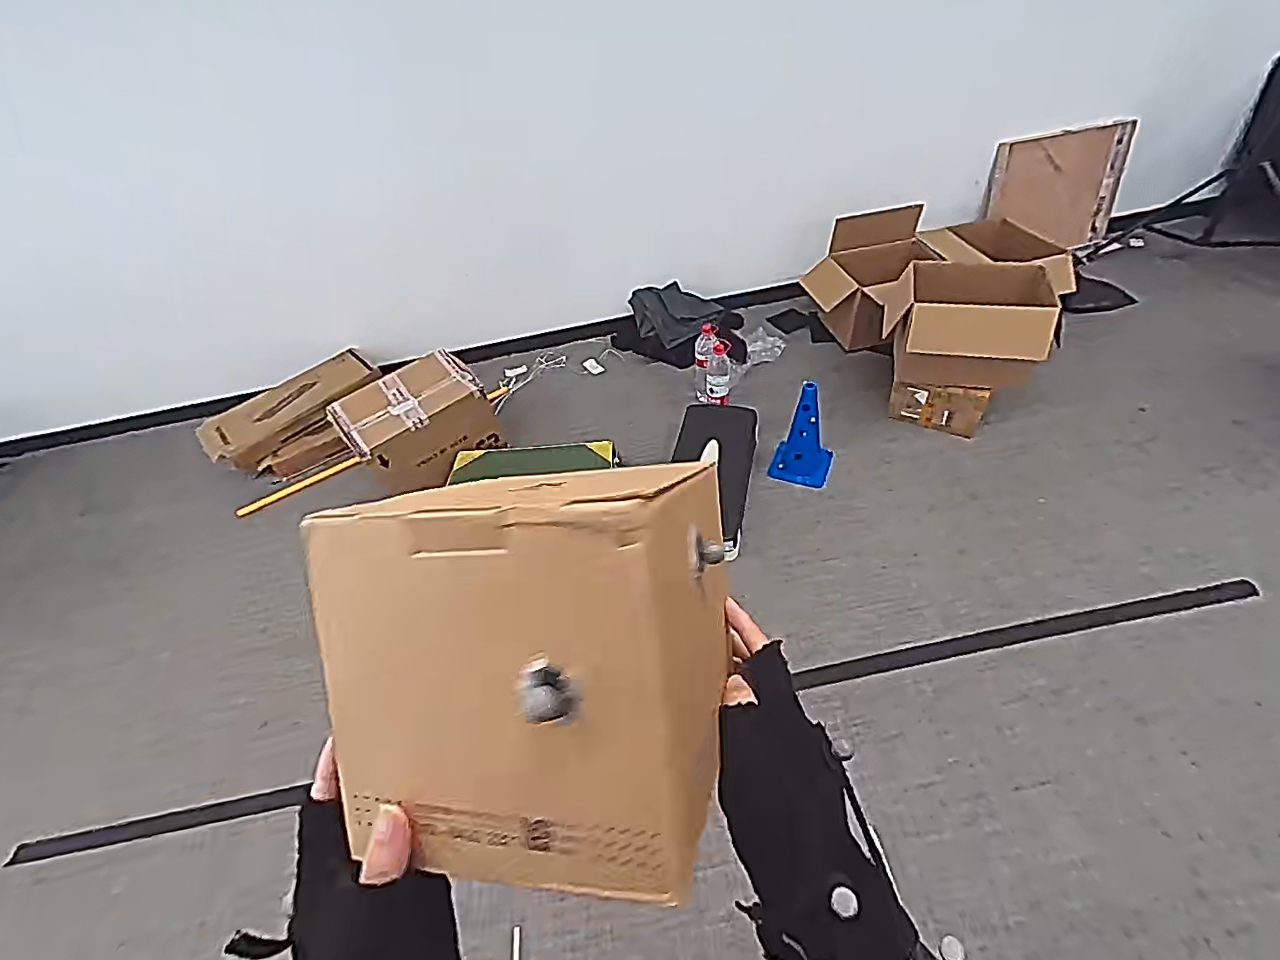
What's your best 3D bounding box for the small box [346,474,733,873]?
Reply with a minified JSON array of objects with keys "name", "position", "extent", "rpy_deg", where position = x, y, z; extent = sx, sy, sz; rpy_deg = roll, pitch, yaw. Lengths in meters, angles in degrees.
[{"name":"small box","position":[-0.037,0.092,0.328],"extent":[0.168,0.176,0.179],"rpy_deg":[-4,3,16]}]
